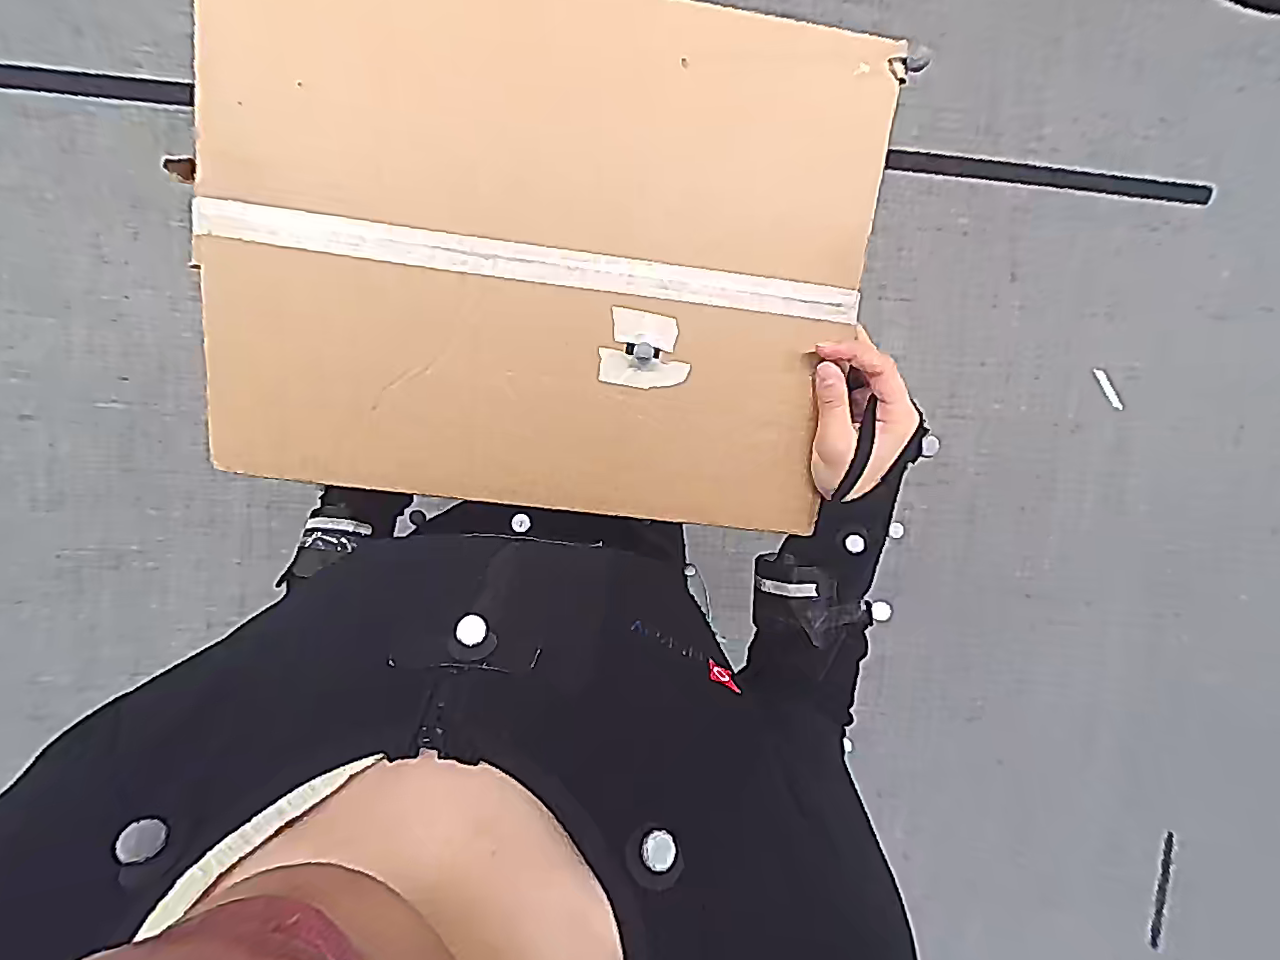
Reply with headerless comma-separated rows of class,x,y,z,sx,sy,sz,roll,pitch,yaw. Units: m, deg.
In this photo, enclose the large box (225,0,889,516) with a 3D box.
large box,-0.066,-0.166,0.494,0.408,0.320,0.320,5,102,-6
